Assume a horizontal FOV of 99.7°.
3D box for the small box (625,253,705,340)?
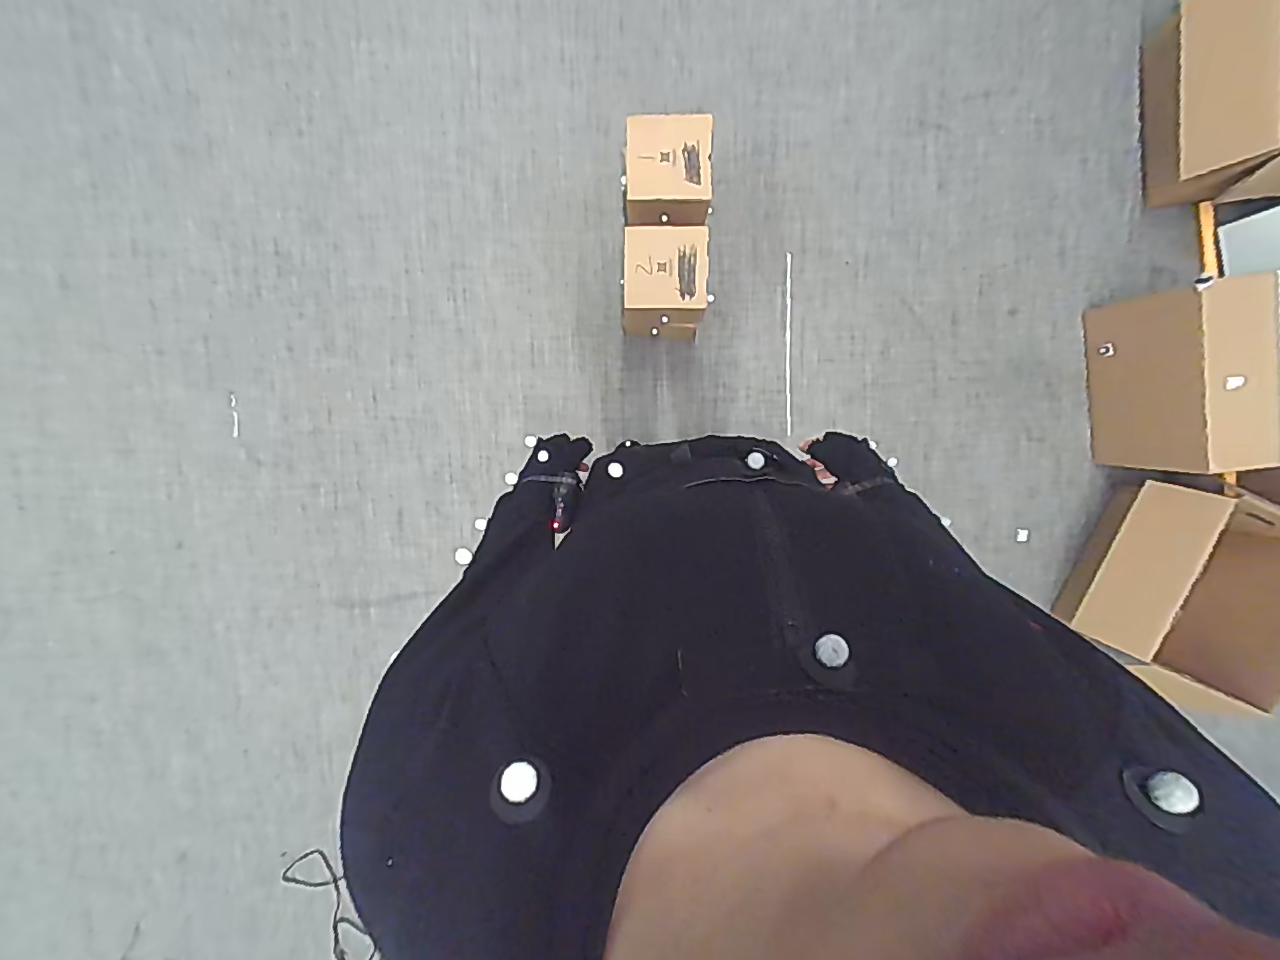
[{"bbox_3d":[0.061,-0.451,1.351,0.179,0.176,0.168,5,96,1],"label":"small box"}]
